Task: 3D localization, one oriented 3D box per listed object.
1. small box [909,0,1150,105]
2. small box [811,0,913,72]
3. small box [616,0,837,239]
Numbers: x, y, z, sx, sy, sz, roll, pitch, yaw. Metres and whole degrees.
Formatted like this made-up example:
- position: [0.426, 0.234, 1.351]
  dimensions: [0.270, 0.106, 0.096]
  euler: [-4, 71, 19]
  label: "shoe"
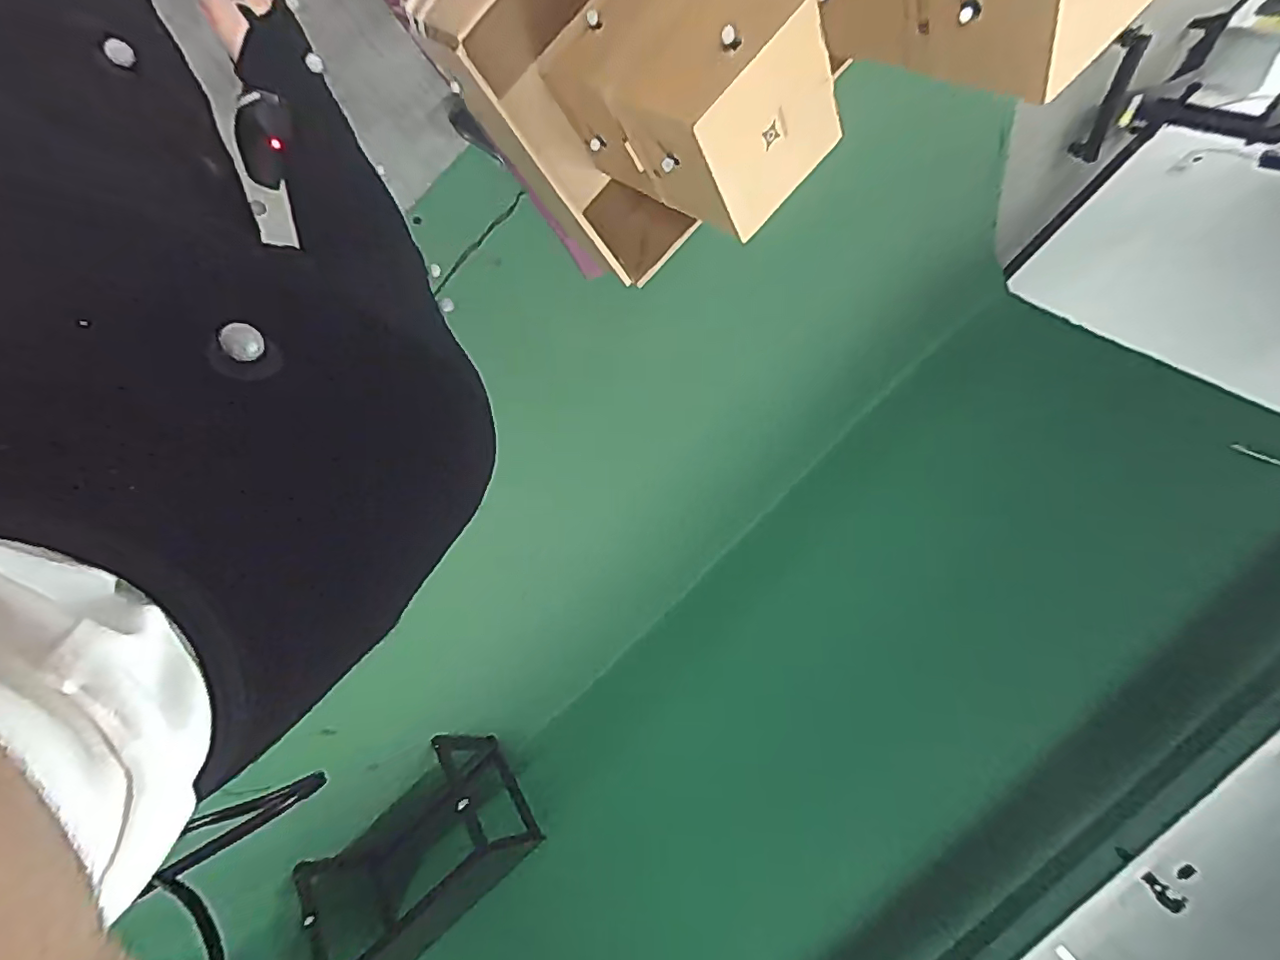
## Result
- position: [0.386, -0.520, 0.526]
  dimensions: [0.179, 0.176, 0.168]
  euler: [-45, 146, 6]
  label: "small box"
- position: [0.298, -0.626, 0.618]
  dimensions: [0.179, 0.176, 0.168]
  euler: [-45, 145, 7]
  label: "small box"
- position: [0.094, -0.429, 0.635]
  dimensions: [0.179, 0.176, 0.168]
  euler: [-47, 144, 4]
  label: "small box"
